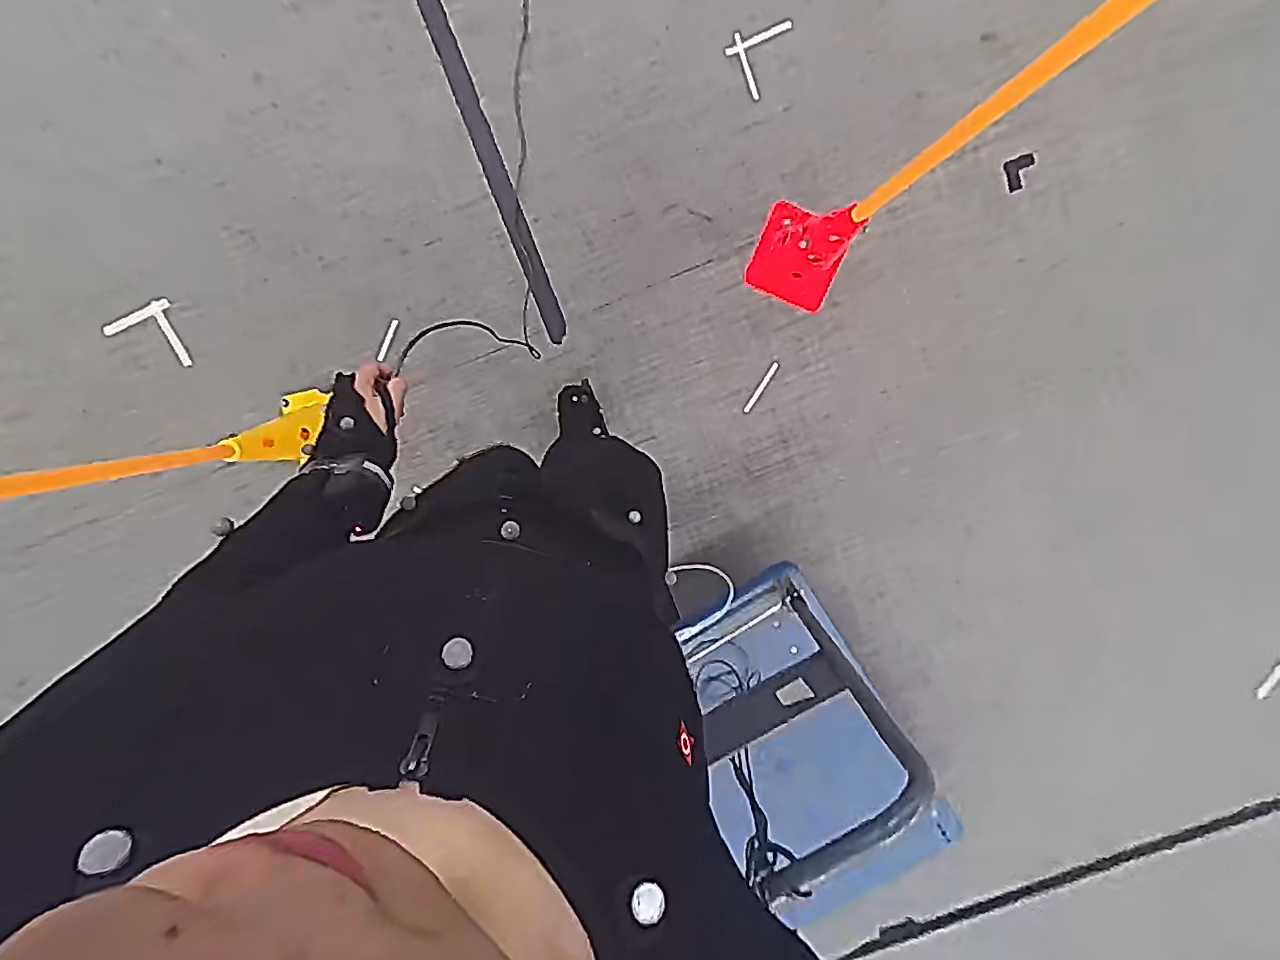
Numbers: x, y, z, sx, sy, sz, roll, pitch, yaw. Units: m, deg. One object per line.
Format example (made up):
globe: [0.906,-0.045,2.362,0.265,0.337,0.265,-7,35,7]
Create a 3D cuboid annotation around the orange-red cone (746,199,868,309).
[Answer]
orange-red cone: [0.368,-0.486,1.084,0.198,0.360,0.199,23,101,-5]
